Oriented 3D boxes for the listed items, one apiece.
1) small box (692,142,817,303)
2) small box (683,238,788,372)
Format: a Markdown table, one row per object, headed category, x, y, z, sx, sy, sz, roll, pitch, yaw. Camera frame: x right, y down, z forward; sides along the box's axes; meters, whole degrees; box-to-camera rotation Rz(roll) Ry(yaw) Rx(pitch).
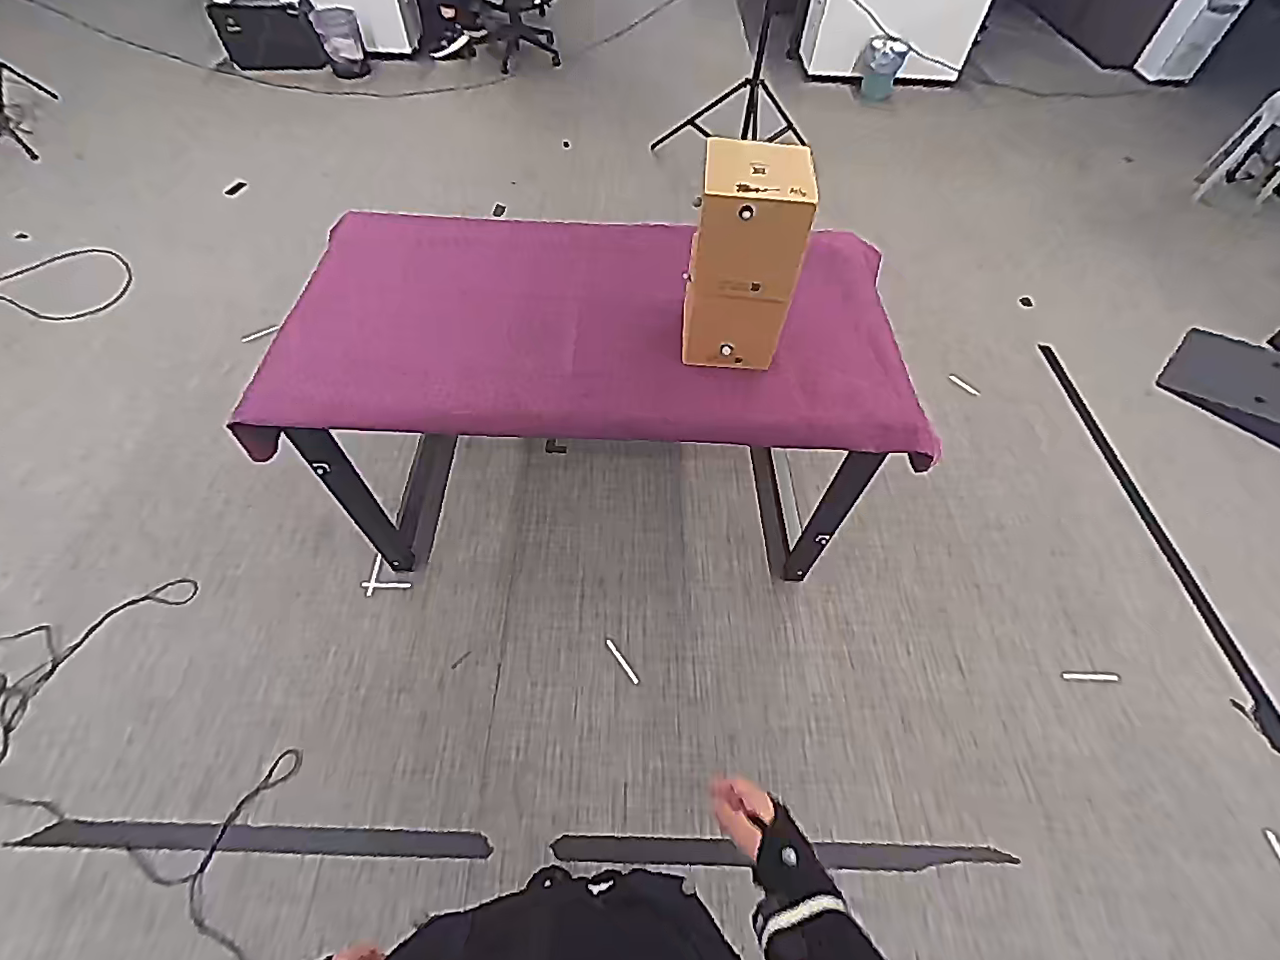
| category | x | y | z | sx | sy | sz | roll | pitch | yaw |
| --- | --- | --- | --- | --- | --- | --- | --- | --- | --- |
| small box | 0.177 | -0.418 | 0.882 | 0.168 | 0.176 | 0.179 | 5 | 55 | 2 |
| small box | 0.171 | -0.329 | 1.020 | 0.168 | 0.176 | 0.179 | 4 | 56 | 1 |
